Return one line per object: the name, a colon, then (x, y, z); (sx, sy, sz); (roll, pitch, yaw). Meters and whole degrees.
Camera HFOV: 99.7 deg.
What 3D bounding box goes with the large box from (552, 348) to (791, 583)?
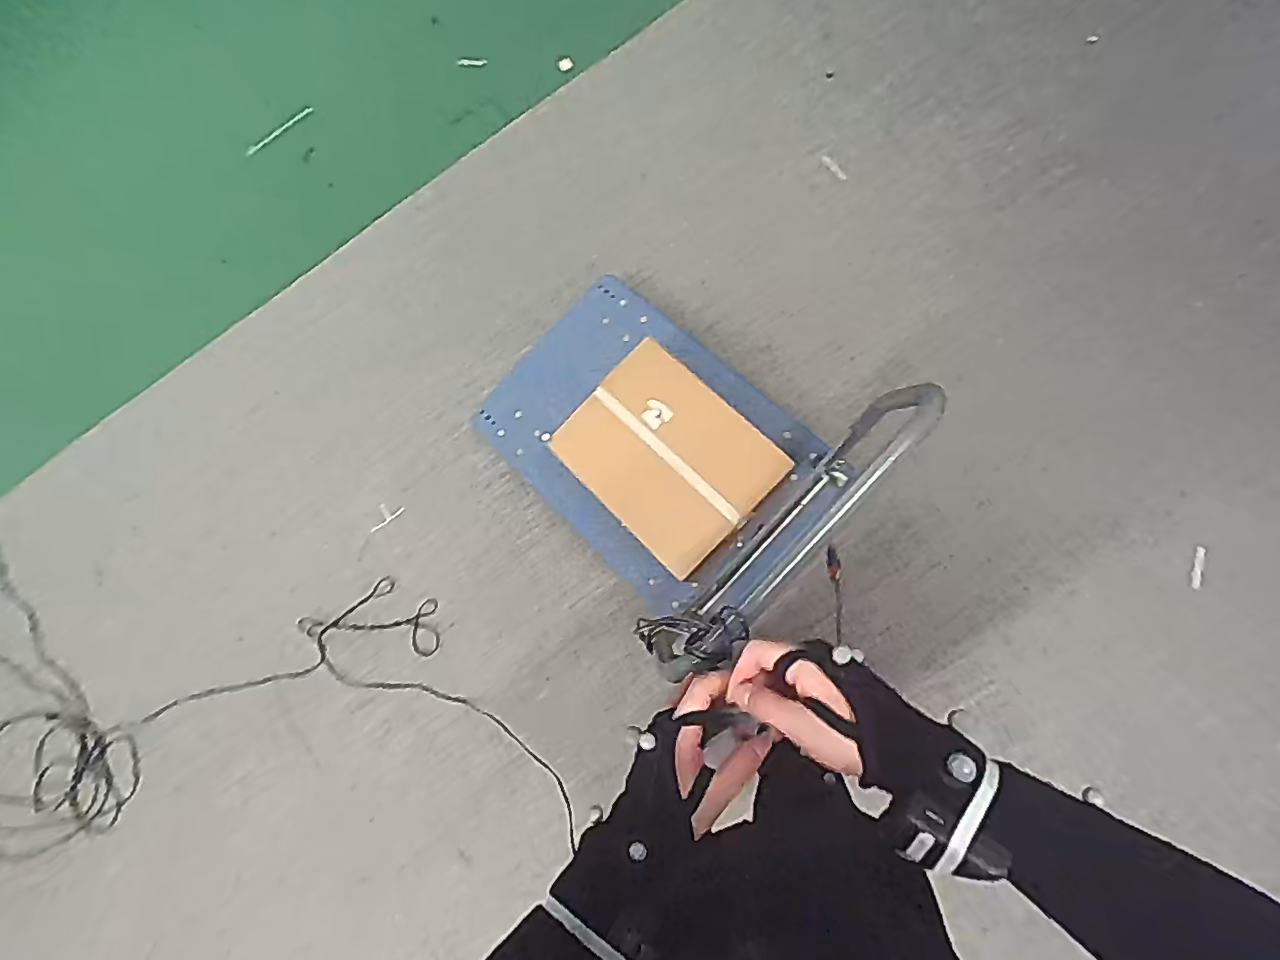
large box: (0.085, -0.012, 1.227); (0.320, 0.320, 0.408); (-45, 73, 0)
